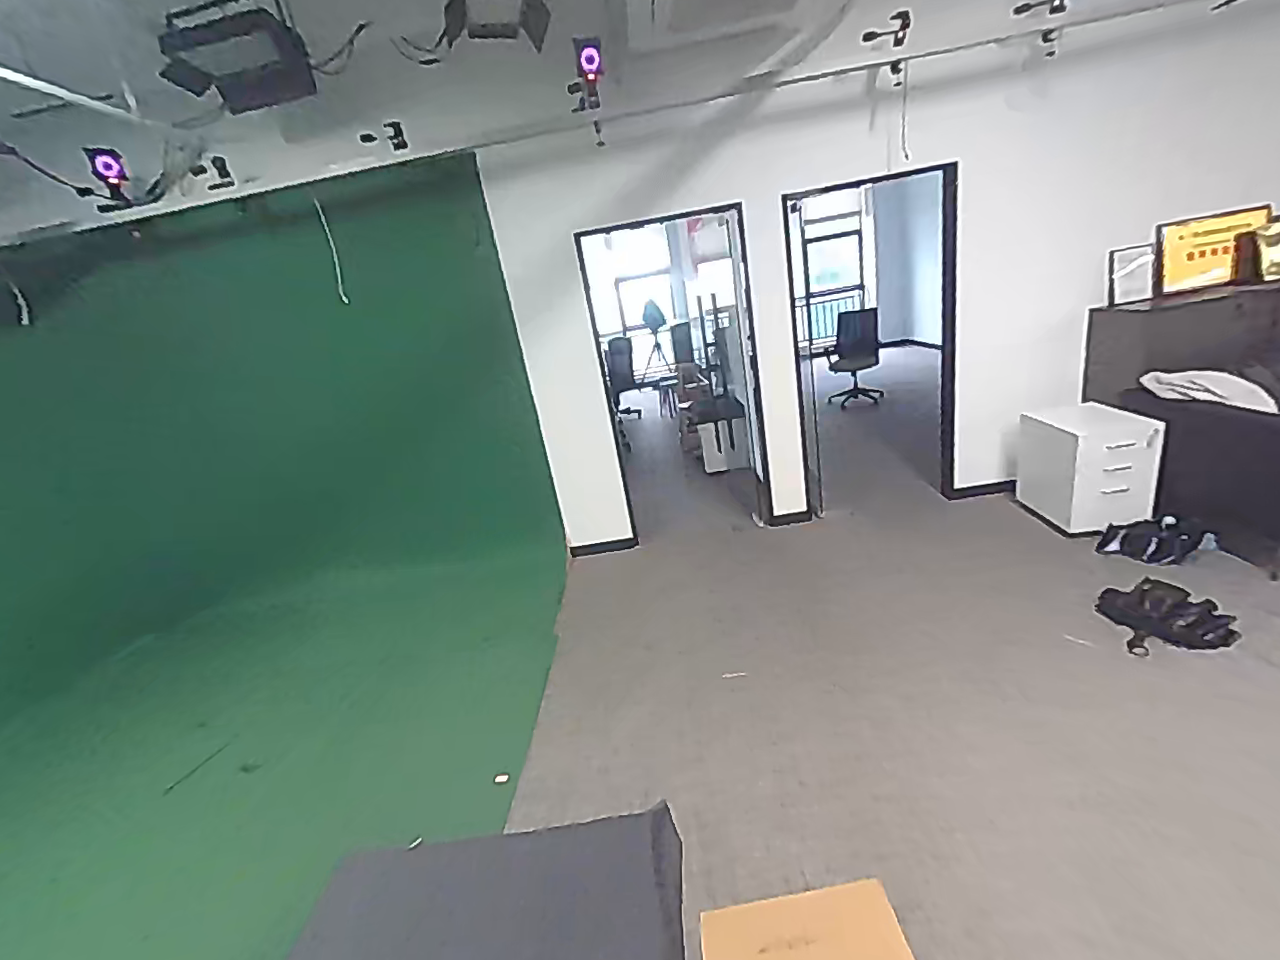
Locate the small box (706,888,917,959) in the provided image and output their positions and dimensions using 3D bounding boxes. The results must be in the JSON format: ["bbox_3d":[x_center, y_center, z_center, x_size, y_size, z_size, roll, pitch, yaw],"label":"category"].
[{"bbox_3d":[0.153,0.466,0.404,0.168,0.176,0.179,-14,6,5],"label":"small box"}]
